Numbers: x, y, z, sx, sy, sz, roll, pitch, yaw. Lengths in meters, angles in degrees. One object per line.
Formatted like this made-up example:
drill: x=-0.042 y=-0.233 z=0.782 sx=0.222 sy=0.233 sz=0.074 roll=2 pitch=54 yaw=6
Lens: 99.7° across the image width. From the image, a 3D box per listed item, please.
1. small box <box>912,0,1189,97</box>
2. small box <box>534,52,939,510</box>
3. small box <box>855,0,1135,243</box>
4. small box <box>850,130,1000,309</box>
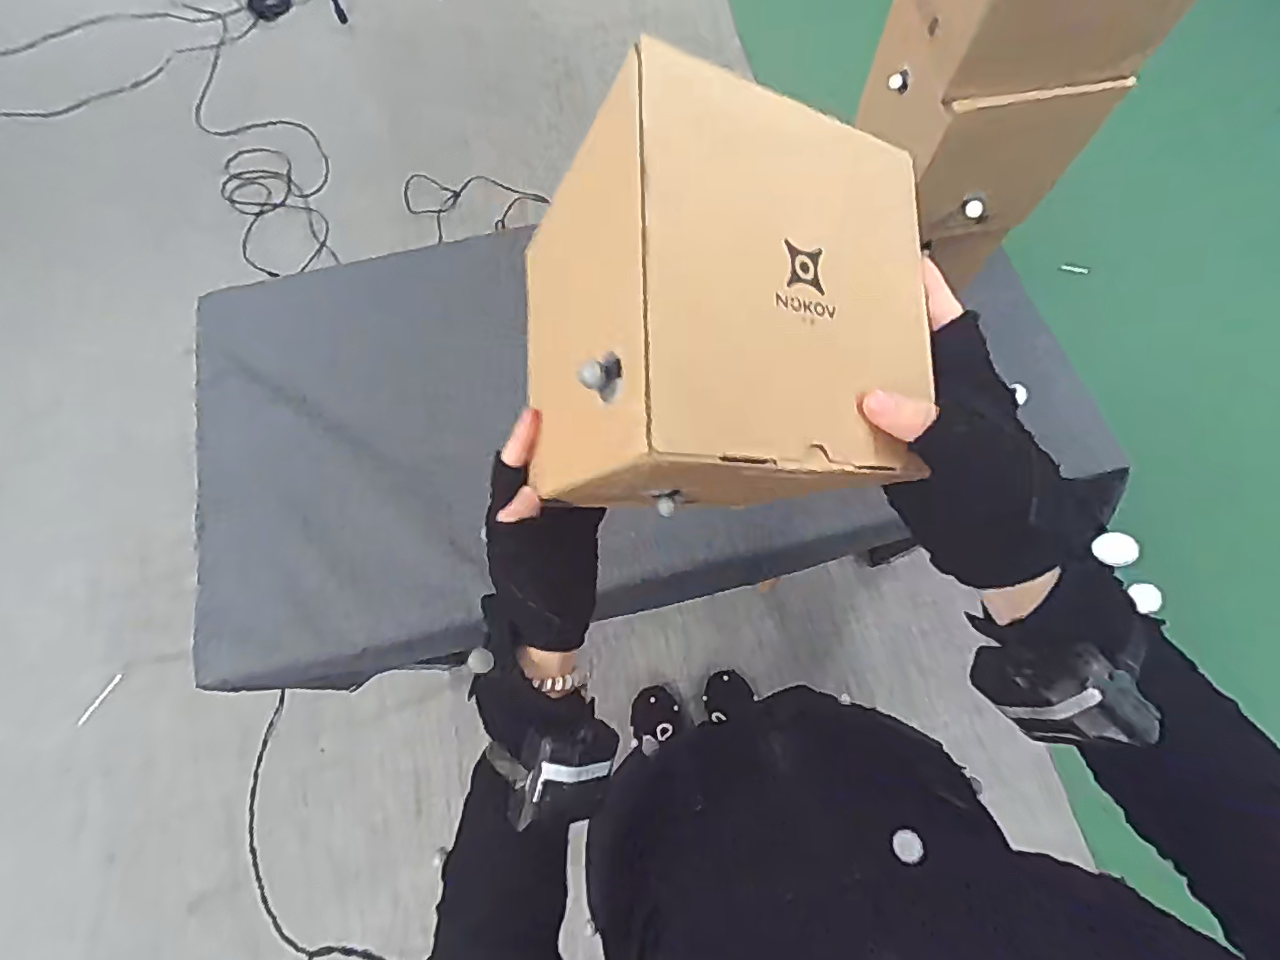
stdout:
small box: x=0.340 y=-0.443 z=0.430 sx=0.179 sy=0.176 sz=0.168 roll=-5 pitch=71 yaw=1
small box: x=0.039 y=-0.078 z=0.318 sx=0.168 sy=0.176 sz=0.179 roll=2 pitch=82 yaw=-27
small box: x=0.353 y=-0.388 z=0.583 sx=0.168 sy=0.176 sz=0.179 roll=-8 pitch=71 yaw=1
small box: x=0.367 y=-0.351 z=0.743 sx=0.179 sy=0.176 sz=0.168 roll=-2 pitch=71 yaw=2
